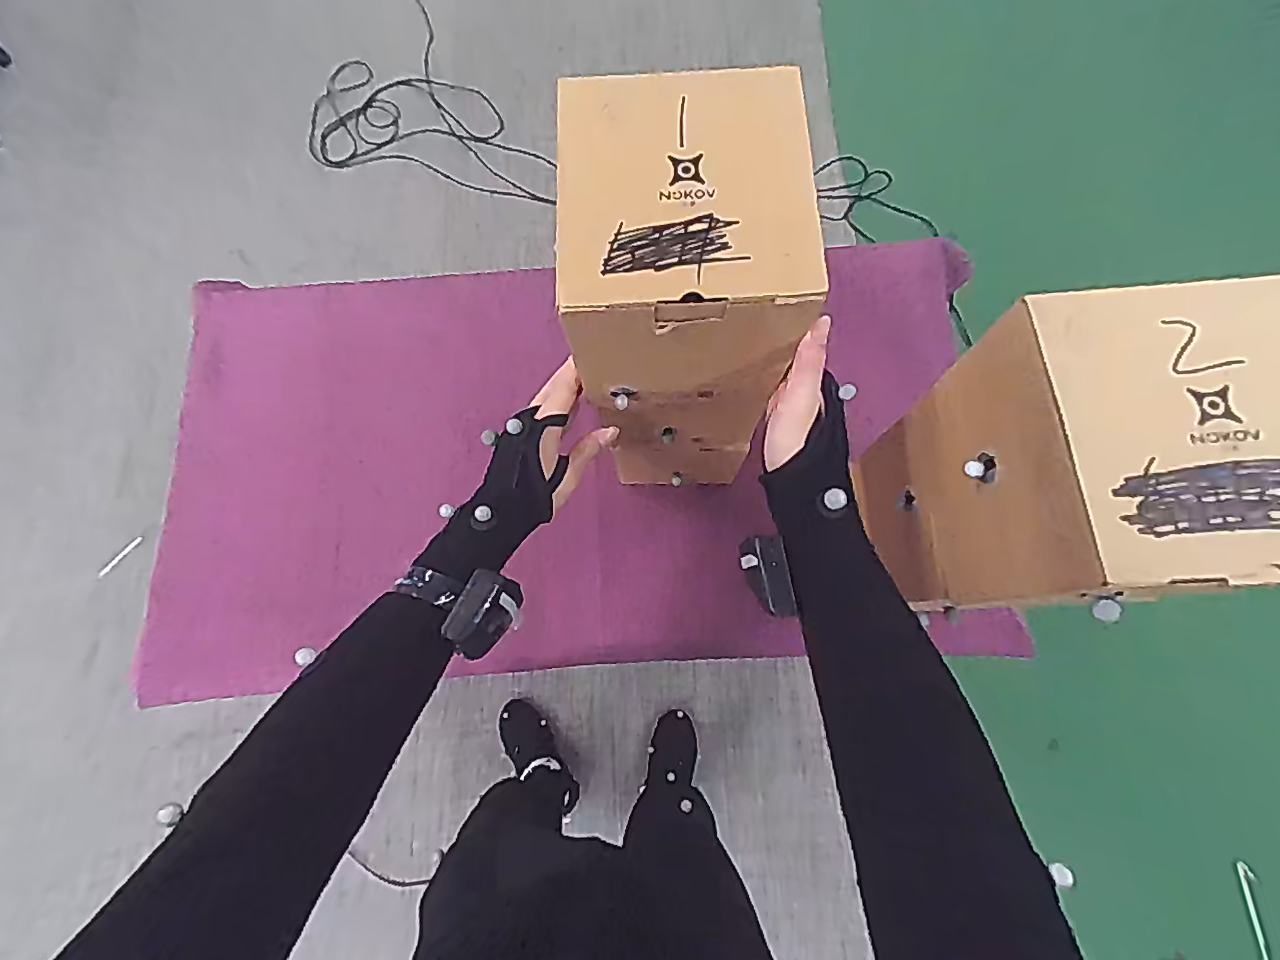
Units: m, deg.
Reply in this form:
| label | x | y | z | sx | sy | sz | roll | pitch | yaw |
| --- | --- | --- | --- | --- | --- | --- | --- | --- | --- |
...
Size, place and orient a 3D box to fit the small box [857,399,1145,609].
| label | x | y | z | sx | sy | sz | roll | pitch | yaw |
| --- | --- | --- | --- | --- | --- | --- | --- | --- | --- |
| small box | 0.328 | 0.033 | 0.535 | 0.168 | 0.176 | 0.179 | 0 | 75 | 3 |

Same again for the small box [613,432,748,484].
| label | x | y | z | sx | sy | sz | roll | pitch | yaw |
| --- | --- | --- | --- | --- | --- | --- | --- | --- | --- |
| small box | 0.052 | -0.101 | 0.746 | 0.168 | 0.176 | 0.179 | 1 | 76 | 2 |

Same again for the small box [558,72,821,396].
| label | x | y | z | sx | sy | sz | roll | pitch | yaw |
| --- | --- | --- | --- | --- | --- | --- | --- | --- | --- |
| small box | 0.032 | -0.172 | 0.428 | 0.168 | 0.176 | 0.179 | -2 | 76 | 1 |

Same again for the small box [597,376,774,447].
| label | x | y | z | sx | sy | sz | roll | pitch | yaw |
| --- | --- | --- | --- | --- | --- | --- | --- | --- | --- |
| small box | 0.040 | -0.144 | 0.590 | 0.168 | 0.176 | 0.179 | -2 | 78 | 1 |
